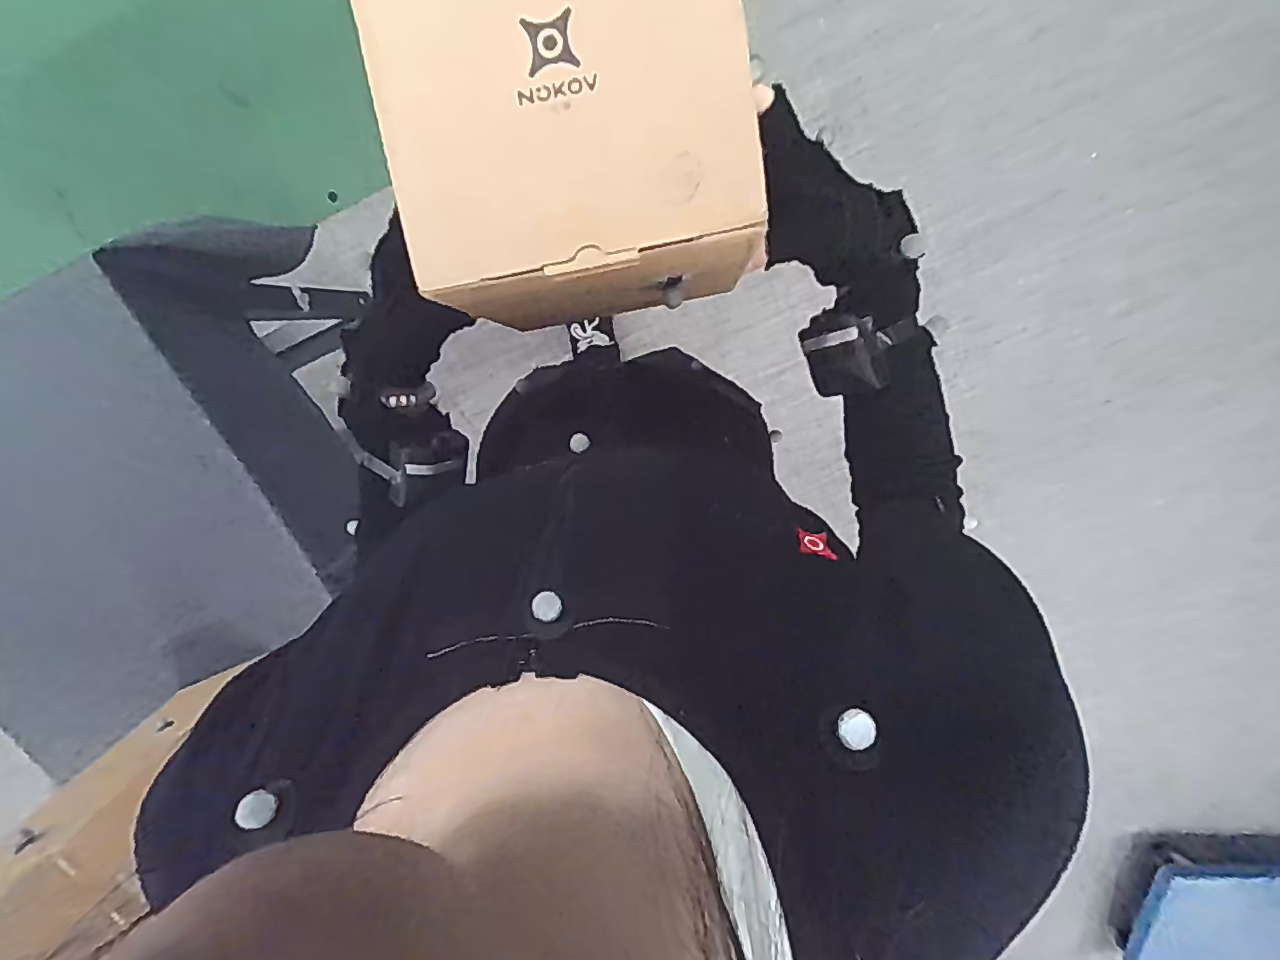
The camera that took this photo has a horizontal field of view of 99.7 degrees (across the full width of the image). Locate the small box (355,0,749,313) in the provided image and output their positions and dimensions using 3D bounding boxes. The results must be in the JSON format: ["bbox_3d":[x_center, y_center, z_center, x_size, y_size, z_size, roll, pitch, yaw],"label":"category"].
[{"bbox_3d":[-0.035,-0.202,0.318,0.168,0.176,0.179,-8,99,5],"label":"small box"}]

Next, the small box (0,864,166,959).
[{"bbox_3d":[-0.593,0.478,0.472,0.168,0.176,0.179,-22,105,6],"label":"small box"}]

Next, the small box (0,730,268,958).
[{"bbox_3d":[-0.596,0.434,0.630,0.179,0.176,0.168,-24,105,6],"label":"small box"}]

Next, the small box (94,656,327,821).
[{"bbox_3d":[-0.597,0.388,0.786,0.179,0.176,0.168,-24,105,8],"label":"small box"}]
